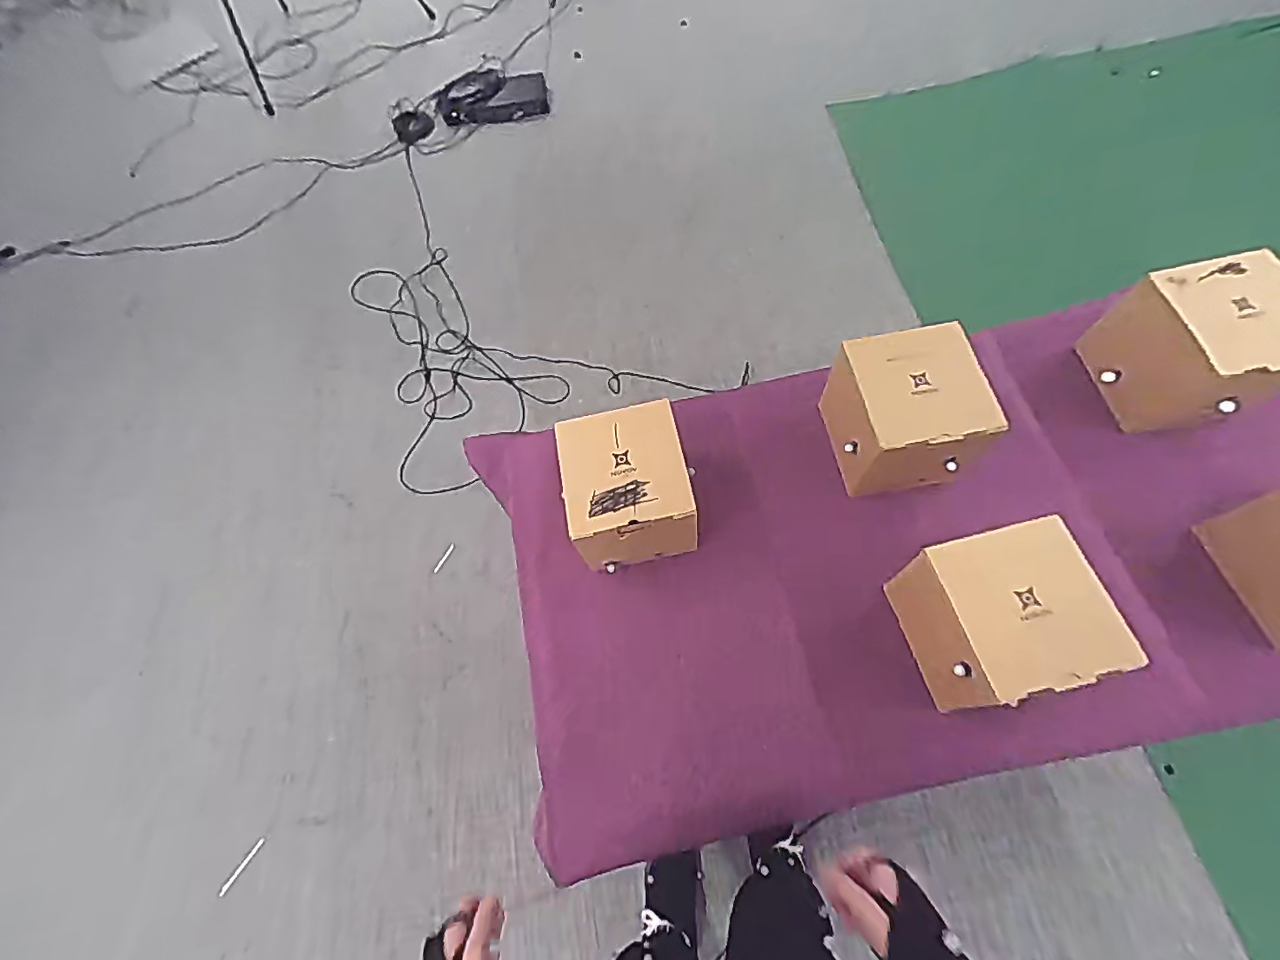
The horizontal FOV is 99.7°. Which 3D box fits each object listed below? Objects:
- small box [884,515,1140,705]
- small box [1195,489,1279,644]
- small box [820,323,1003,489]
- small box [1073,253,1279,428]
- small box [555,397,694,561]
[{"bbox_3d":[0.434,0.168,0.672,0.168,0.176,0.179,-14,65,-1],"label":"small box"},{"bbox_3d":[0.858,0.090,0.656,0.168,0.176,0.179,-13,65,2],"label":"small box"},{"bbox_3d":[0.381,-0.097,0.797,0.168,0.176,0.179,-9,66,1],"label":"small box"},{"bbox_3d":[0.797,-0.190,0.788,0.168,0.176,0.179,-11,68,1],"label":"small box"},{"bbox_3d":[-0.017,0.009,0.790,0.168,0.176,0.179,-12,65,0],"label":"small box"}]
